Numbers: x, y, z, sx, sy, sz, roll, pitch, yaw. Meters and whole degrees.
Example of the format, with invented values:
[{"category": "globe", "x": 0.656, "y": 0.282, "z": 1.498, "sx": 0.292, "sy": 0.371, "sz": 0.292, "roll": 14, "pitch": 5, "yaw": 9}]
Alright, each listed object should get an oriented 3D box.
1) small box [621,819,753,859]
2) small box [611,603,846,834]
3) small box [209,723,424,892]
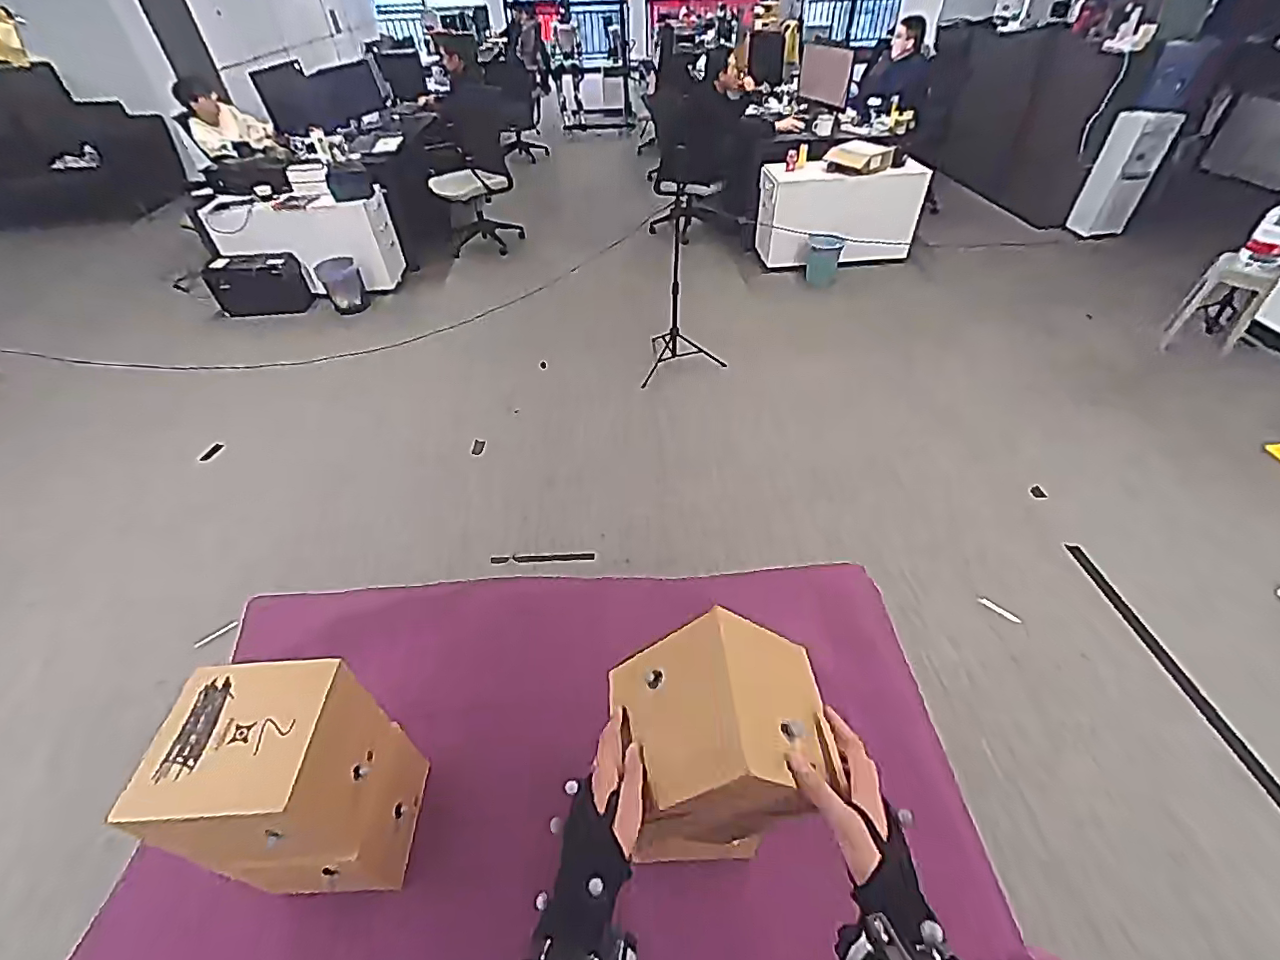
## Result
[{"category": "small box", "x": 0.065, "y": 0.419, "z": 0.766, "sx": 0.179, "sy": 0.176, "sz": 0.168, "roll": -3, "pitch": 44, "yaw": -1}, {"category": "small box", "x": 0.084, "y": 0.267, "z": 0.582, "sx": 0.168, "sy": 0.179, "sz": 0.176, "roll": 29, "pitch": 36, "yaw": -30}, {"category": "small box", "x": -0.422, "y": 0.454, "z": 0.749, "sx": 0.179, "sy": 0.176, "sz": 0.168, "roll": -2, "pitch": 44, "yaw": 0}]
